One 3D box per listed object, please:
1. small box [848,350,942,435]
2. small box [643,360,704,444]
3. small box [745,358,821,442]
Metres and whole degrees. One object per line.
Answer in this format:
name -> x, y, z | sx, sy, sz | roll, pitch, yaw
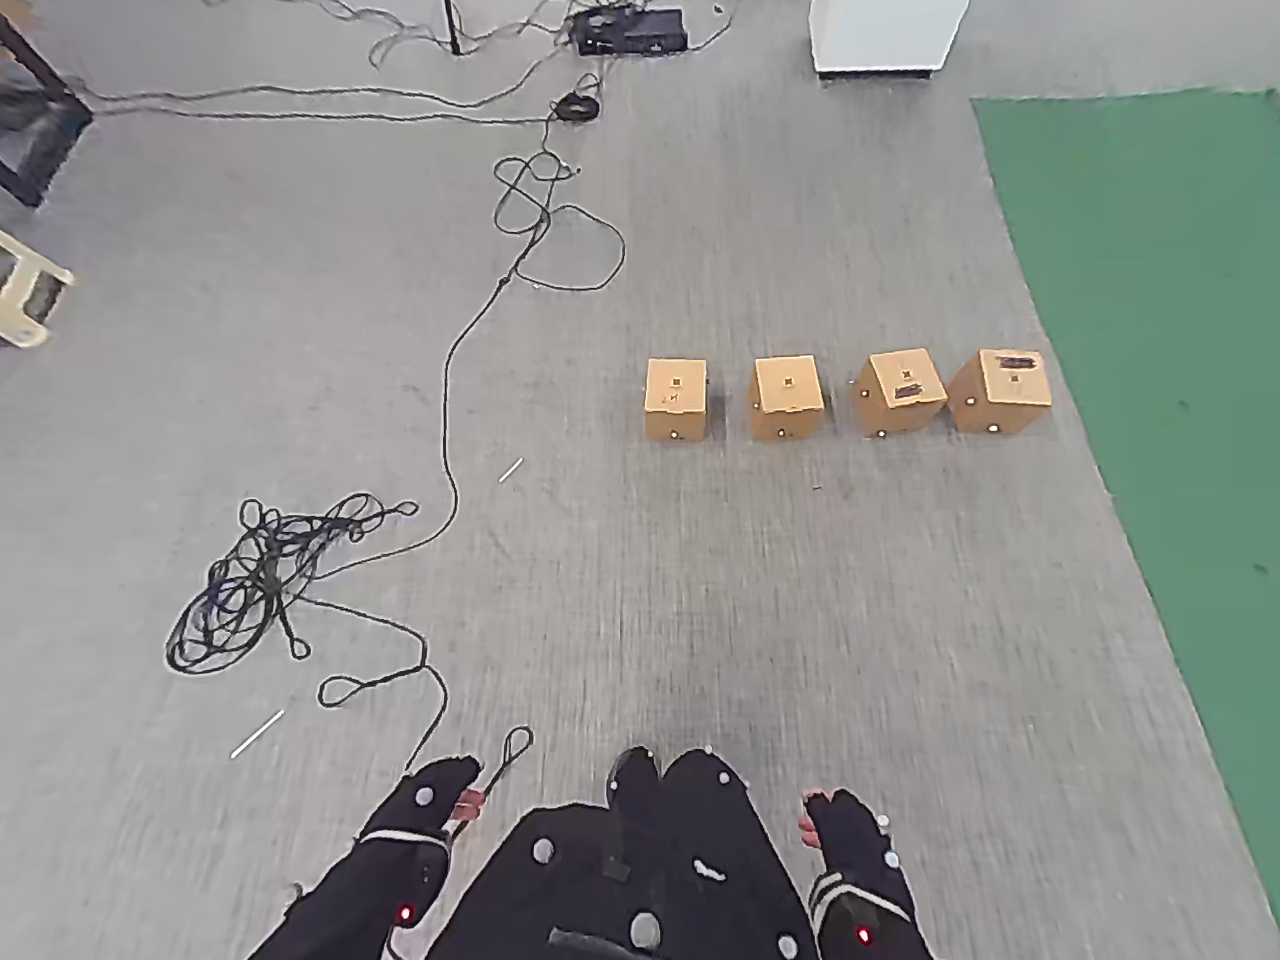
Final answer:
small box -> 0.720, -0.242, 1.544 | 0.168, 0.176, 0.179 | -7, 65, -2
small box -> 0.097, -0.223, 1.562 | 0.168, 0.176, 0.179 | 2, 65, 4
small box -> 0.402, -0.227, 1.551 | 0.168, 0.176, 0.179 | -4, 66, 1
